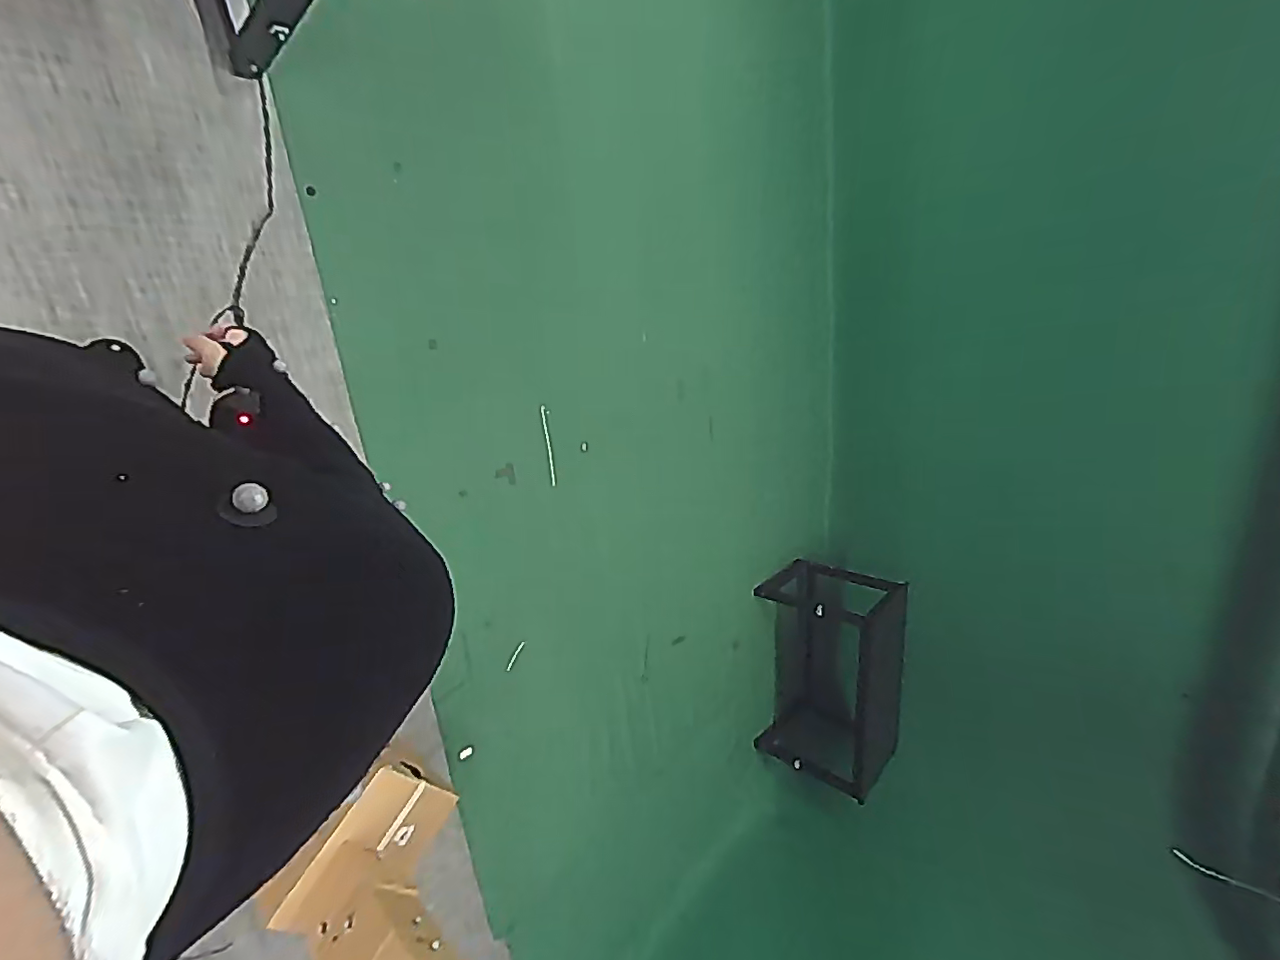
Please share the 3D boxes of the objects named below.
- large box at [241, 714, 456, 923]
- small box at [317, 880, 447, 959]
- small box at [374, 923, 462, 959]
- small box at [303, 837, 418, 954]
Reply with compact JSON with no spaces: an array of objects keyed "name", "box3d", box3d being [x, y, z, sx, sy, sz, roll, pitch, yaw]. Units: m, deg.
[{"name":"large box","box3d":[-0.831,0.971,1.560,0.408,0.320,0.320,-57,135,-24]},{"name":"small box","box3d":[-0.587,1.056,1.232,0.168,0.176,0.179,-56,132,-25]},{"name":"small box","box3d":[-0.471,1.076,1.118,0.179,0.176,0.168,-58,134,-25]},{"name":"small box","box3d":[-0.701,1.039,1.347,0.179,0.176,0.168,-57,133,-23]}]
